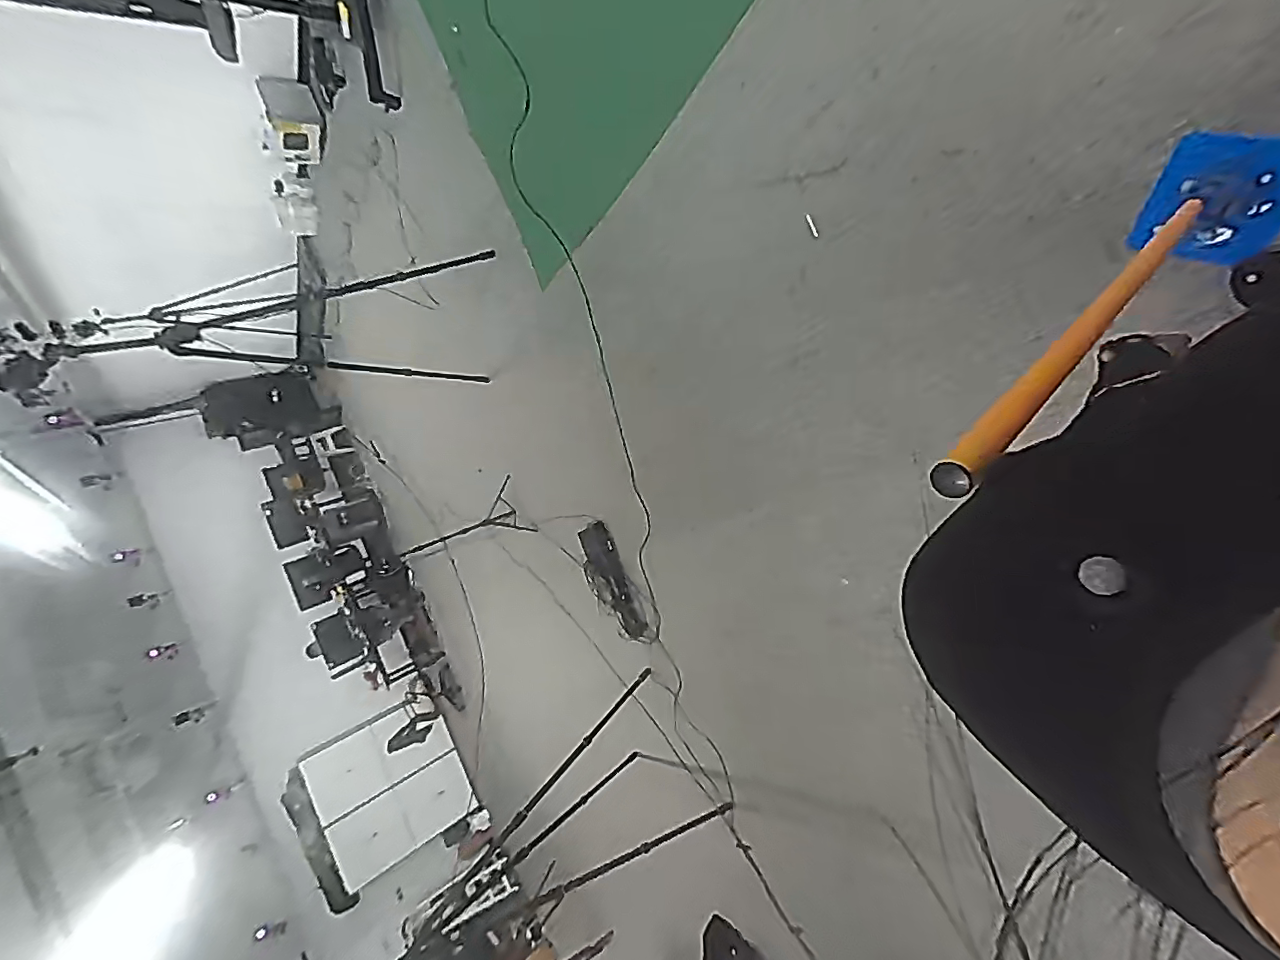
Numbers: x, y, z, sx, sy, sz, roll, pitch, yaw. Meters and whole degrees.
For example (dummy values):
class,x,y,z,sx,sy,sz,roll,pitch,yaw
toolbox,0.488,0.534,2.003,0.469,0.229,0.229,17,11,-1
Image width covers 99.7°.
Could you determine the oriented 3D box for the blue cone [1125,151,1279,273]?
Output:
class,x,y,z,sx,sy,sz,roll,pitch,yaw
blue cone,0.908,-0.429,0.884,0.192,0.380,0.193,32,133,36
